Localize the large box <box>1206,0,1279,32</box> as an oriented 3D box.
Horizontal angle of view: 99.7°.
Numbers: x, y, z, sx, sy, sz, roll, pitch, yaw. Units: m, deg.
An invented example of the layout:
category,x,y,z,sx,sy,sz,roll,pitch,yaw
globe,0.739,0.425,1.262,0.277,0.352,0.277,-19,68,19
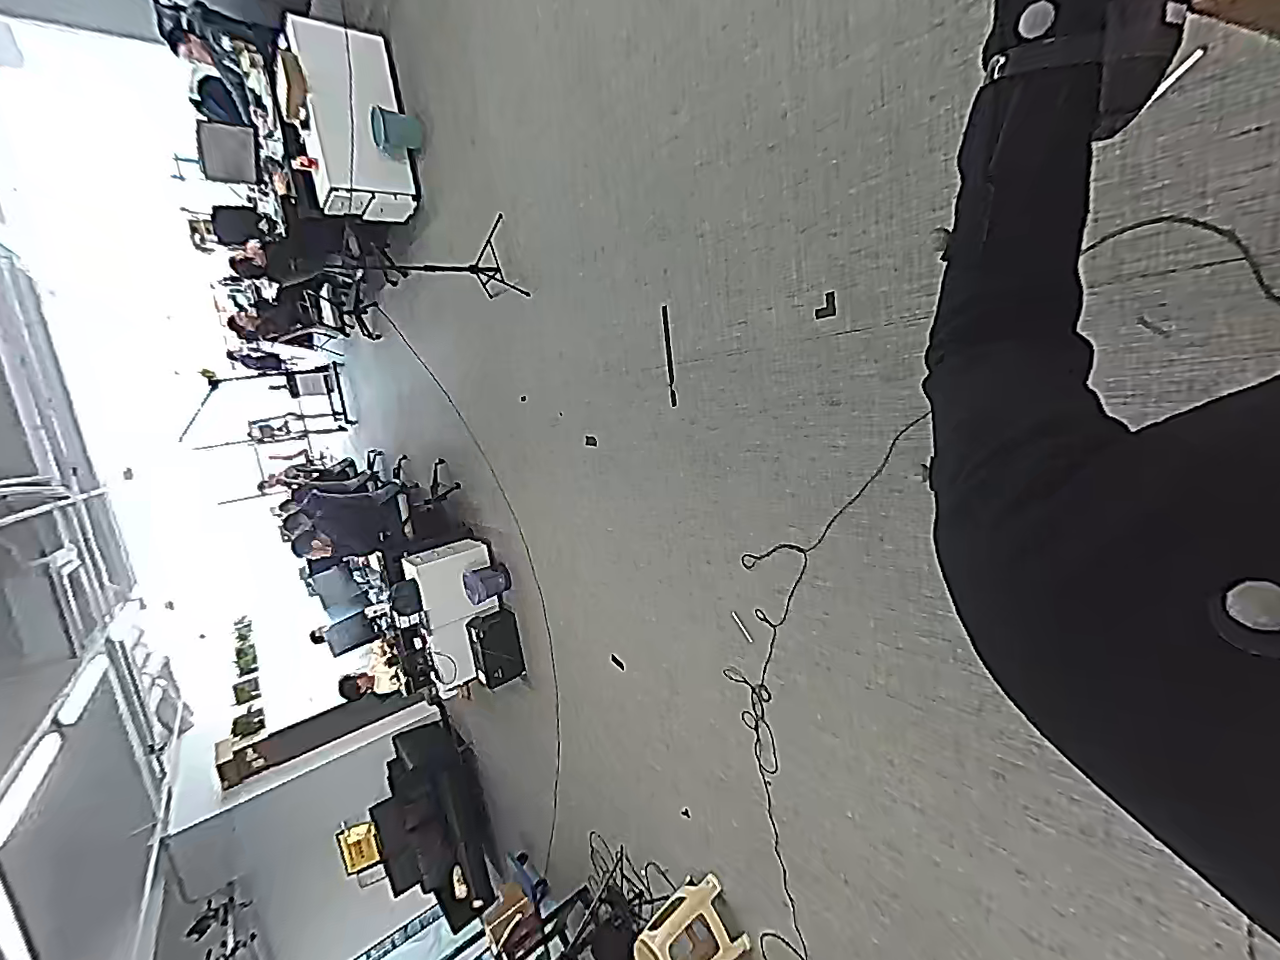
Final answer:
category,x,y,z,sx,sy,sz,roll,pitch,yaw
large box,0.487,-0.441,0.172,0.408,0.320,0.320,6,119,54
